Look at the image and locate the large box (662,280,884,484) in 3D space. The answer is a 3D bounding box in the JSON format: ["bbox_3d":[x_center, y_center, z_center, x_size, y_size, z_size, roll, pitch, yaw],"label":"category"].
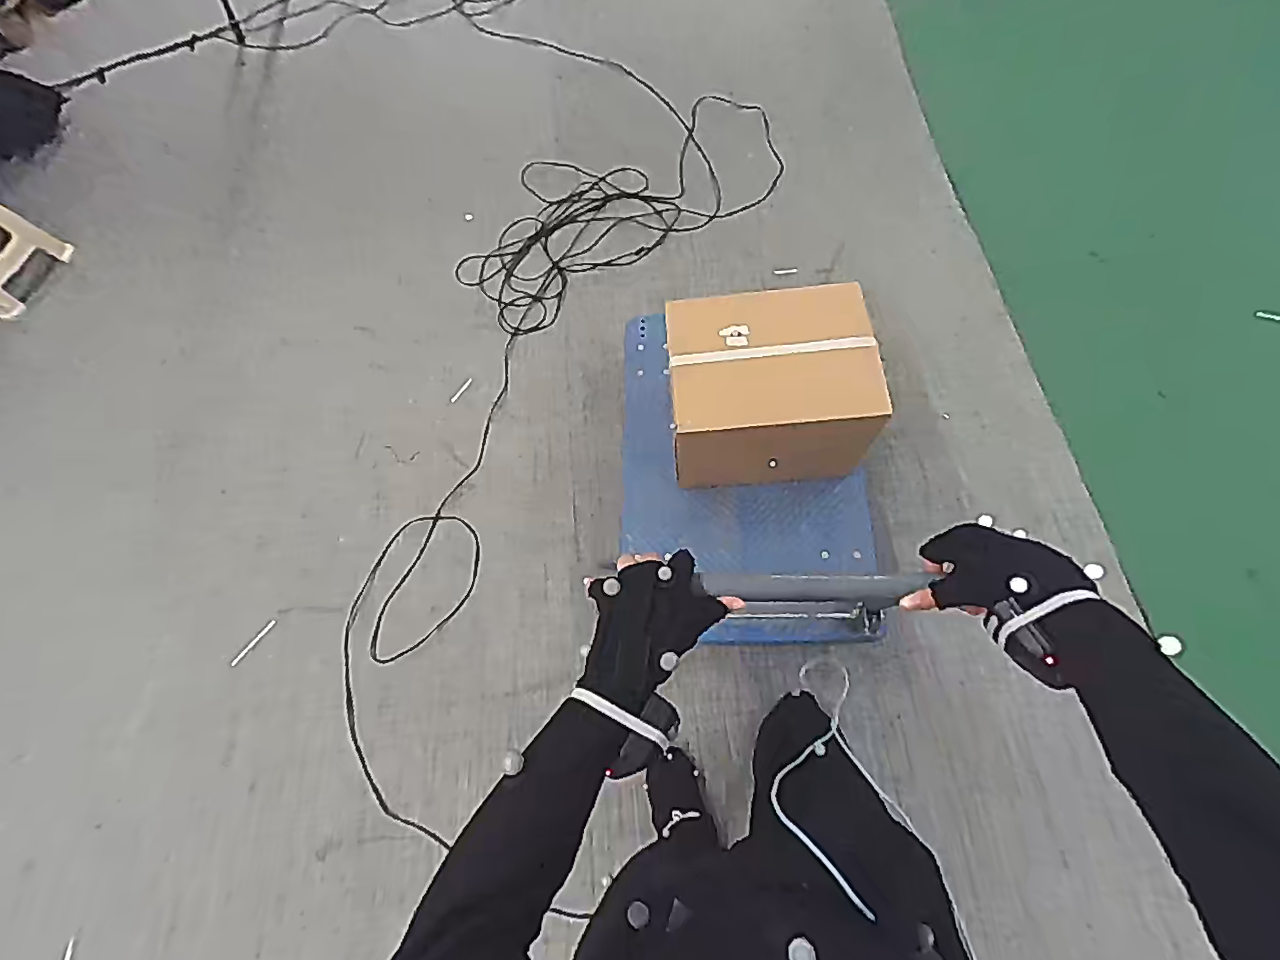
[{"bbox_3d":[0.272,-0.200,1.221,0.408,0.320,0.320,-6,69,5],"label":"large box"}]
